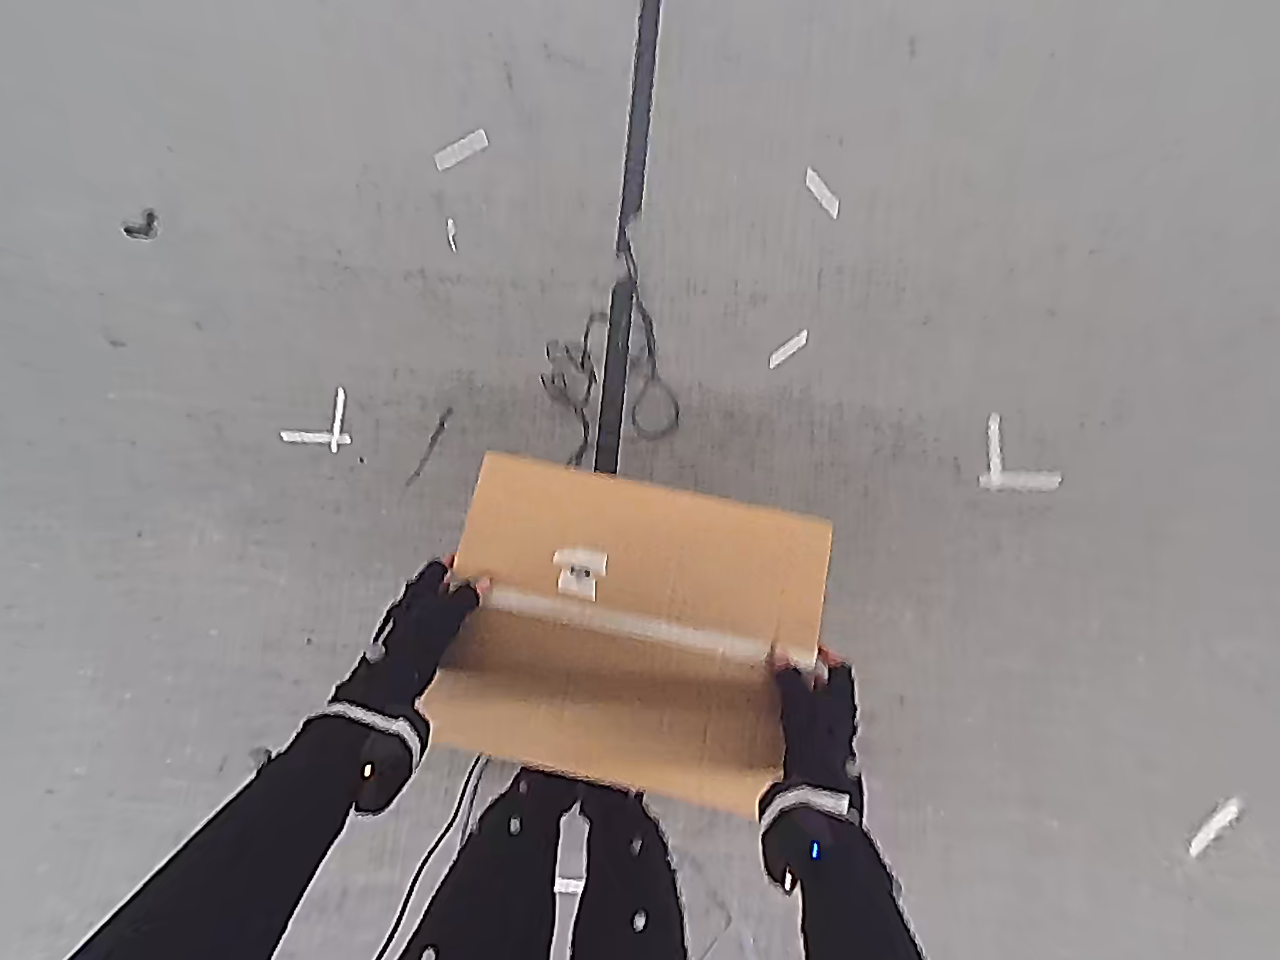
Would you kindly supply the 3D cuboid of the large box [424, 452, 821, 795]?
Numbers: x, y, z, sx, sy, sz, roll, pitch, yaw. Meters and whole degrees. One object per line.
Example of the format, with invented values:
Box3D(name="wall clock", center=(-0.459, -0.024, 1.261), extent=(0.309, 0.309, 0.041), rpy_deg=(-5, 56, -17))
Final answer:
Box3D(name="large box", center=(-0.008, 0.178, 0.751), extent=(0.408, 0.320, 0.320), rpy_deg=(12, 78, 3))
